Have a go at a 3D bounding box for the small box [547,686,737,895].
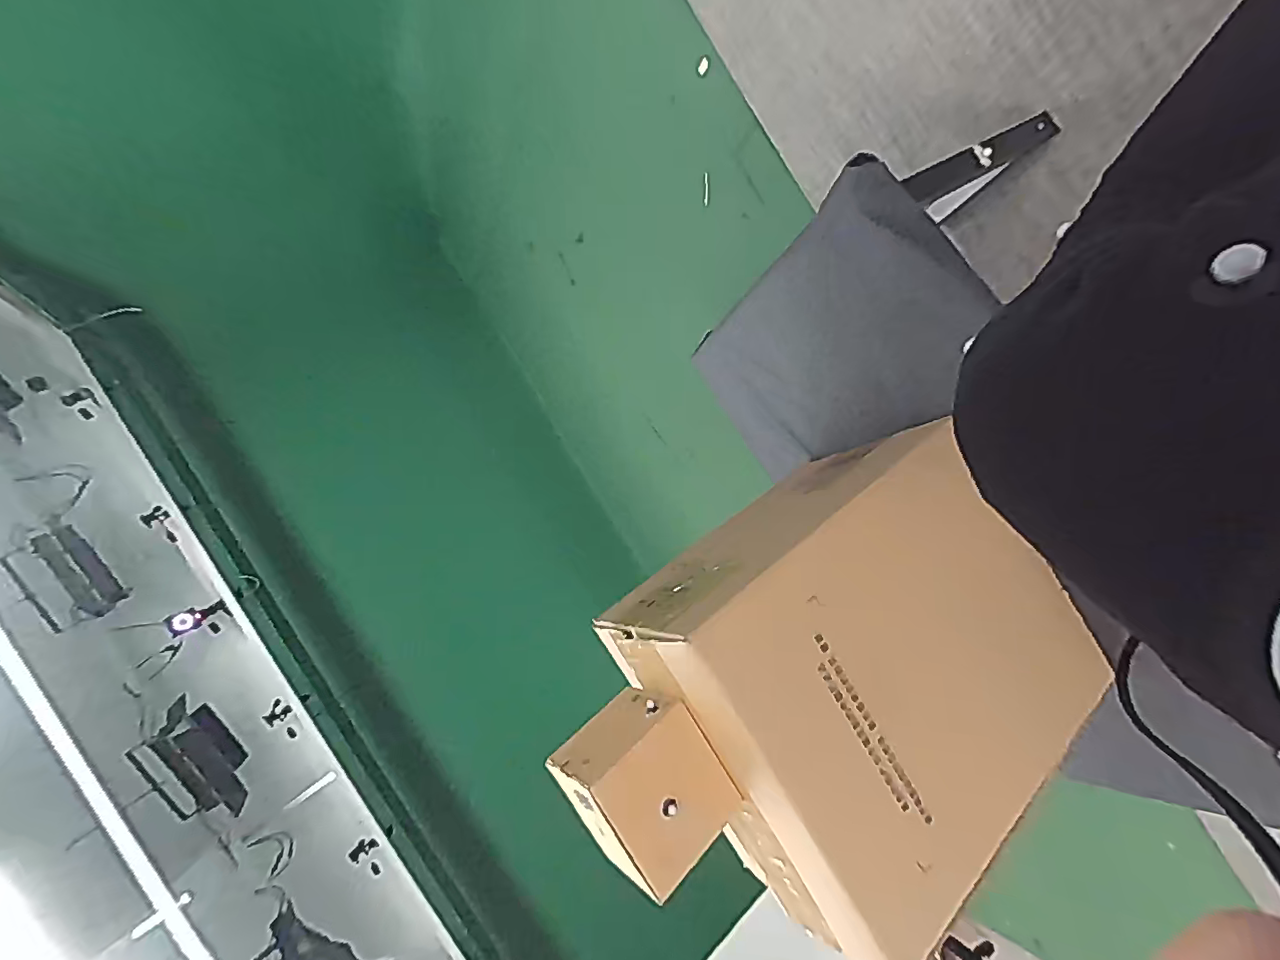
[{"bbox_3d":[0.001,0.422,0.774,0.179,0.176,0.168,58,149,-3],"label":"small box"}]
